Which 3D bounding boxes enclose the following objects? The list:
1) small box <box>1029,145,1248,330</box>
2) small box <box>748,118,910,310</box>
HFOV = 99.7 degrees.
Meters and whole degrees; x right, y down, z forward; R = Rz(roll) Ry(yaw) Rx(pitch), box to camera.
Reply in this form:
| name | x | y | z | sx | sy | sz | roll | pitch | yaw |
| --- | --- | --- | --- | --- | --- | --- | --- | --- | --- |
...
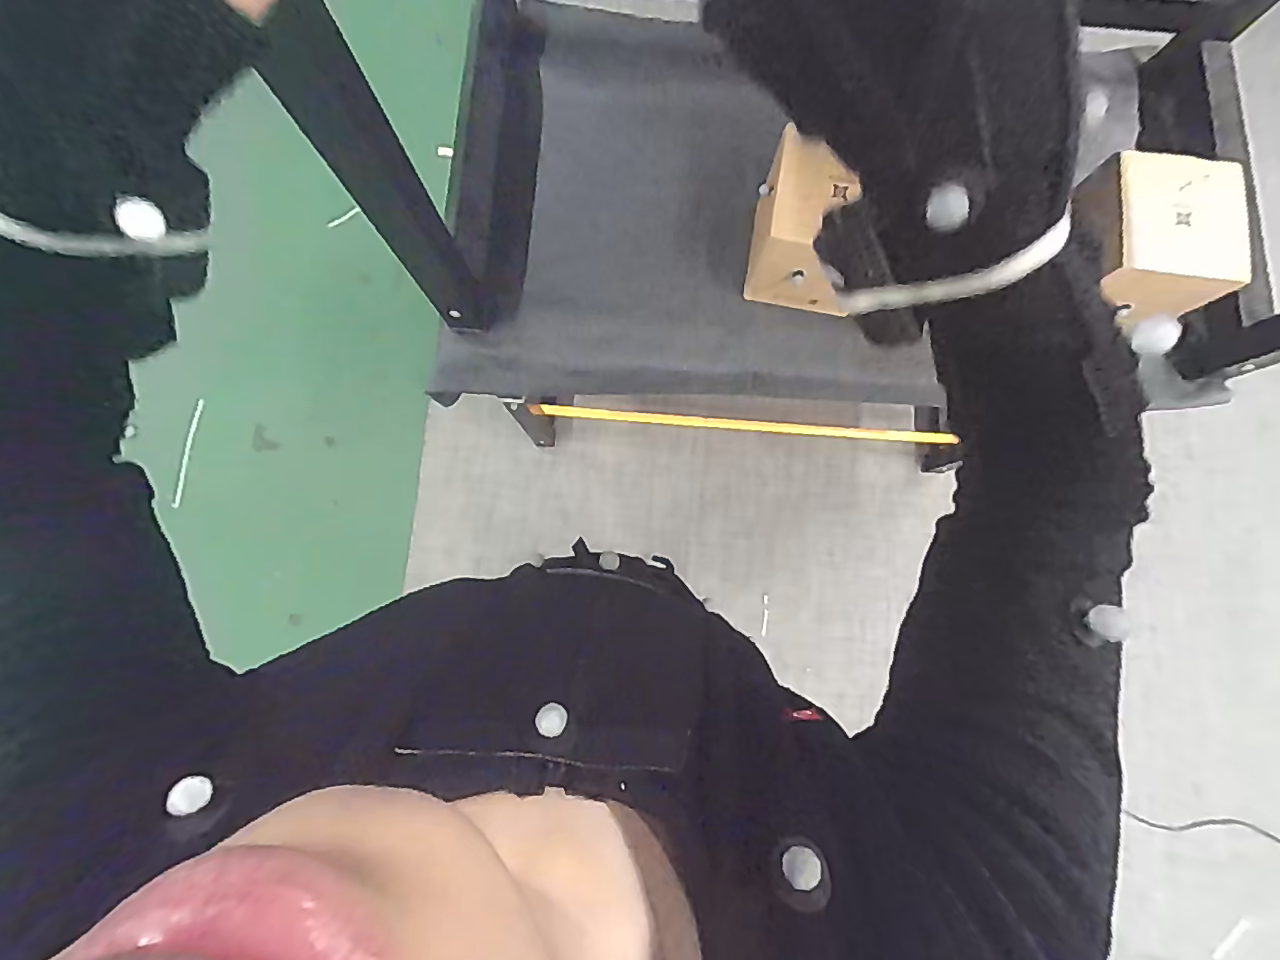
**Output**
| name | x | y | z | sx | sy | sz | roll | pitch | yaw |
| --- | --- | --- | --- | --- | --- | --- | --- | --- | --- |
| small box | 0.700 | -0.336 | 0.780 | 0.168 | 0.176 | 0.179 | 7 | 80 | 0 |
| small box | 0.260 | -0.370 | 0.781 | 0.168 | 0.176 | 0.179 | 10 | 81 | 1 |
